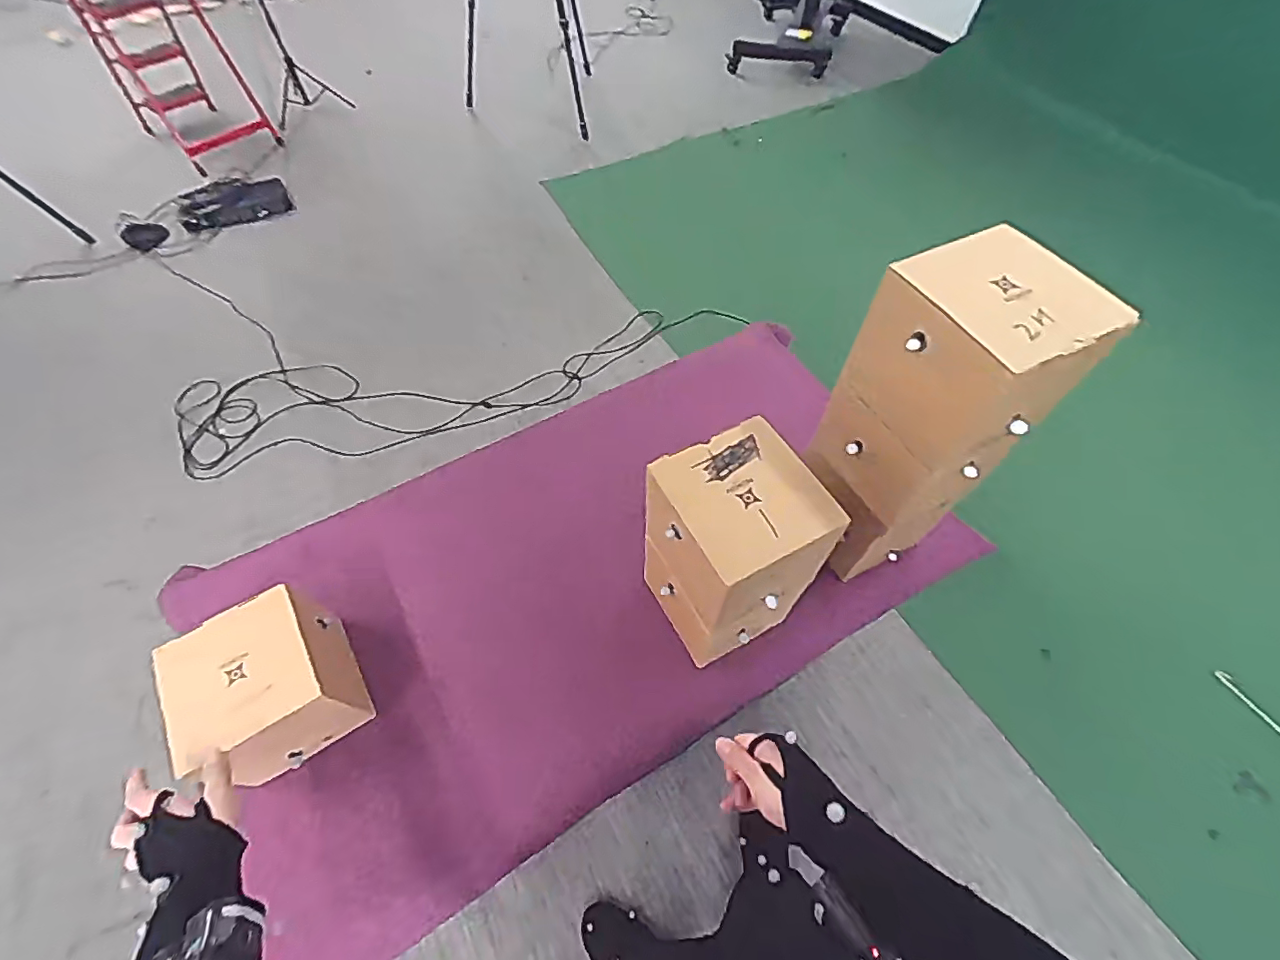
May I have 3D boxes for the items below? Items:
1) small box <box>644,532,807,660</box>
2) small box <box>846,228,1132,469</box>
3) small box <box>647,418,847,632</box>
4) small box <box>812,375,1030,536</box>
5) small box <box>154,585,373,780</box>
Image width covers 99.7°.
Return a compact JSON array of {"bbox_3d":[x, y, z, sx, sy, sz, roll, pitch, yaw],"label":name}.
[{"bbox_3d":[0.119,0.151,0.817,0.168,0.176,0.179,-25,59,-15],"label":"small box"},{"bbox_3d":[0.365,-0.144,0.609,0.168,0.176,0.179,-23,60,-12],"label":"small box"},{"bbox_3d":[0.118,0.060,0.680,0.168,0.176,0.179,-25,60,-14],"label":"small box"},{"bbox_3d":[0.367,-0.053,0.748,0.168,0.176,0.179,-23,60,-13],"label":"small box"},{"bbox_3d":[-0.499,0.280,0.734,0.168,0.176,0.179,-29,63,-17],"label":"small box"}]
